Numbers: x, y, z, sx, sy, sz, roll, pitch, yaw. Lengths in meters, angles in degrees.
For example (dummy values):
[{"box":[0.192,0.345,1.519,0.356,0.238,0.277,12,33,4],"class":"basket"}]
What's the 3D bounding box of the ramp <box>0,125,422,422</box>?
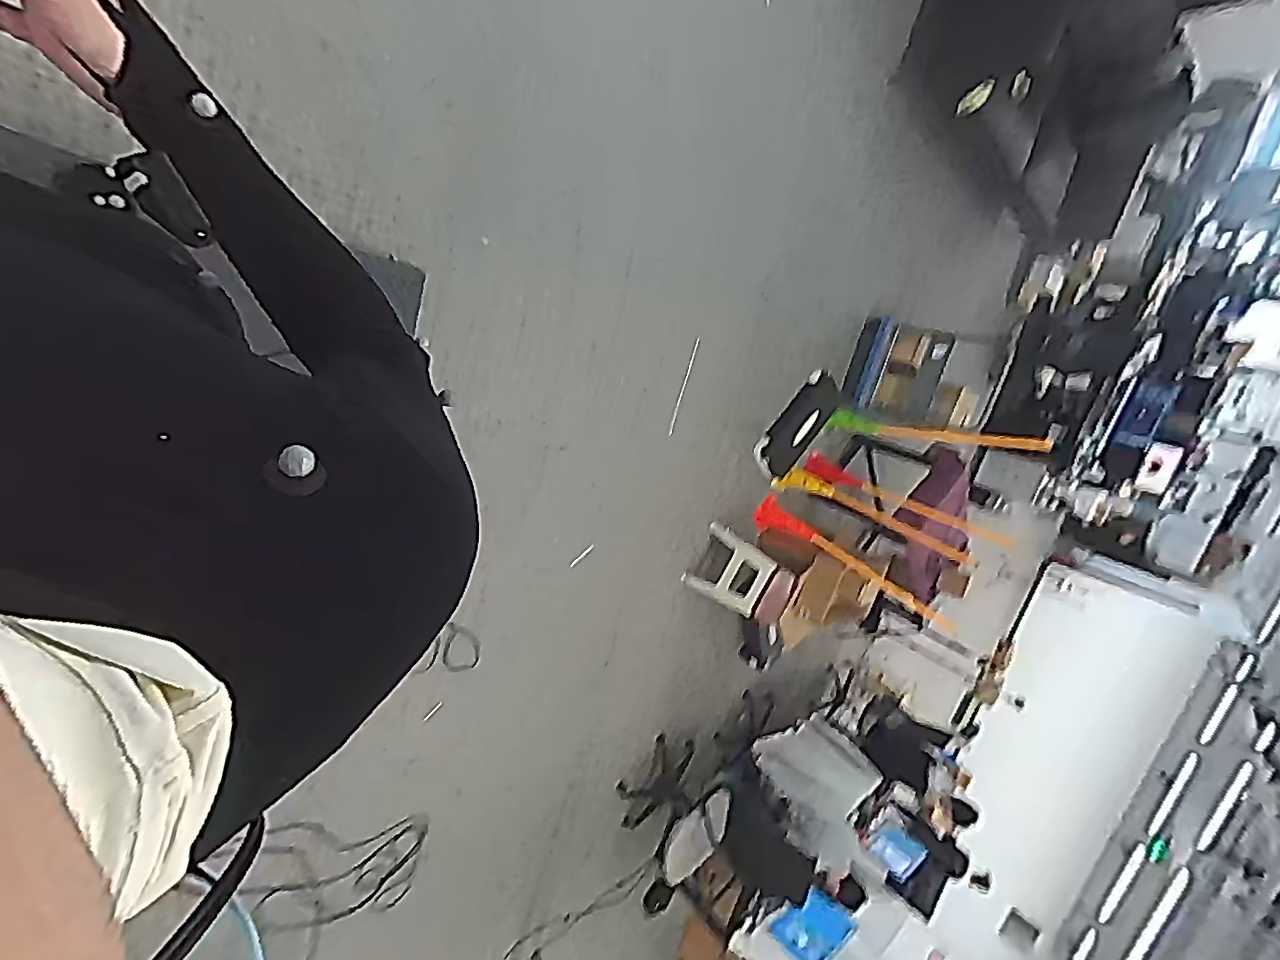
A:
[{"box":[-1.021,-0.414,1.291,0.991,0.206,0.509,2,107,-44],"class":"ramp"}]
